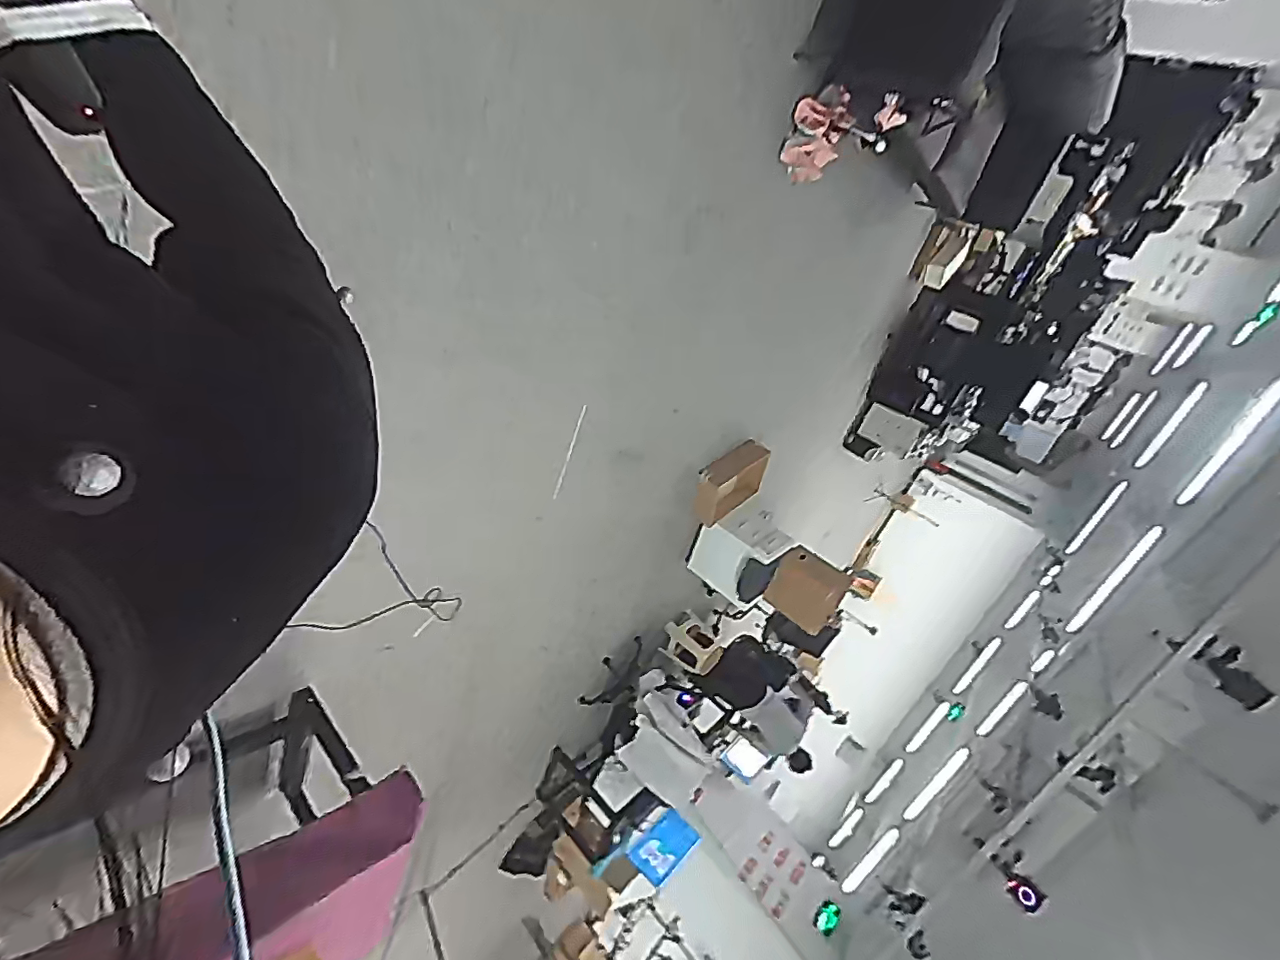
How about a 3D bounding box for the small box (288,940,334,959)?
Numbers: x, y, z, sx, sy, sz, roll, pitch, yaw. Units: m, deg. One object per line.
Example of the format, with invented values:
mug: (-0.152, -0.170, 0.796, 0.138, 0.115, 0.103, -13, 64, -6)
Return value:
small box: (-0.944, 1.434, 1.484, 0.179, 0.176, 0.168, 8, 113, -57)
